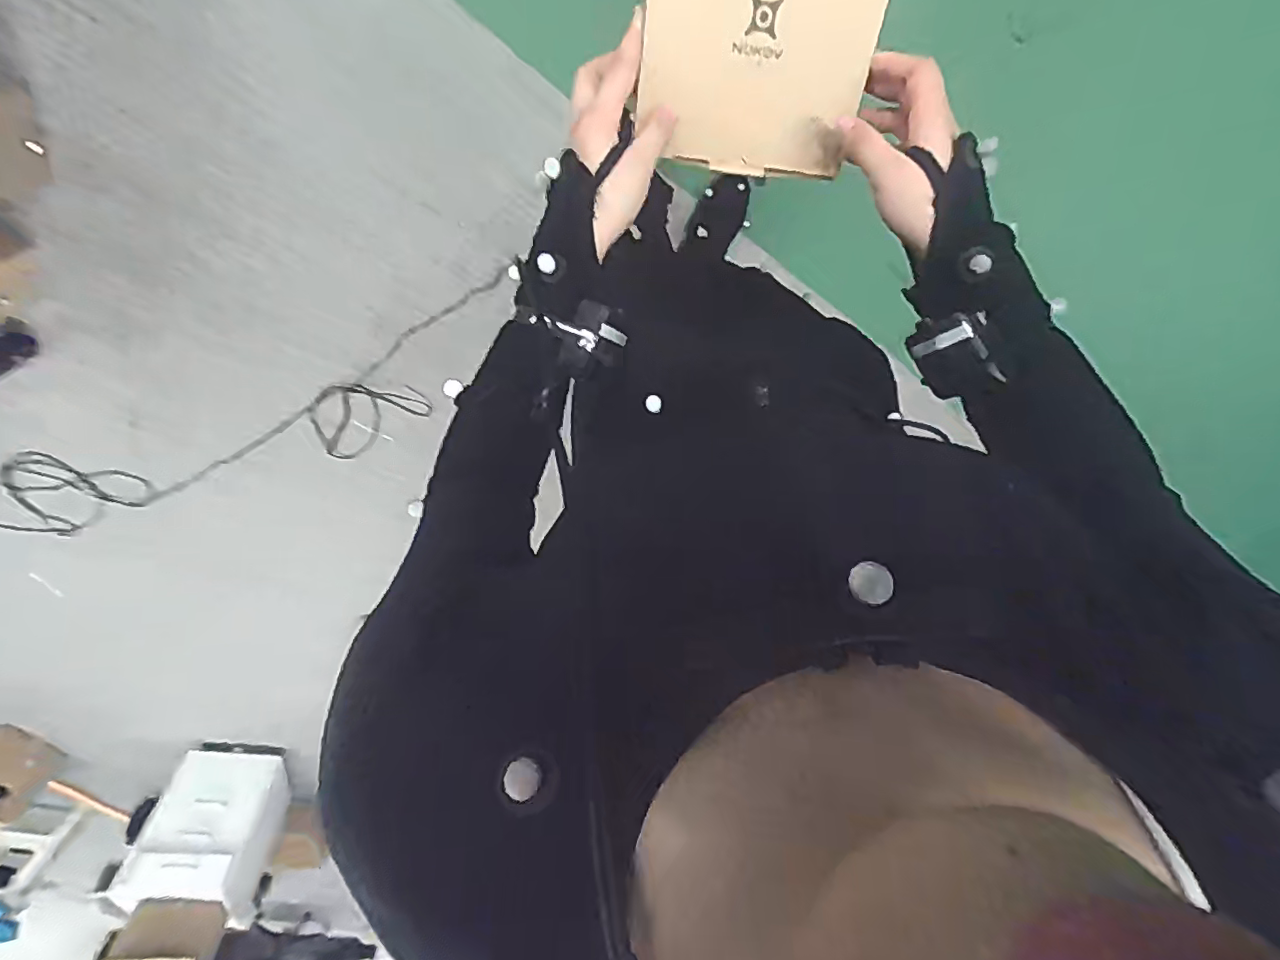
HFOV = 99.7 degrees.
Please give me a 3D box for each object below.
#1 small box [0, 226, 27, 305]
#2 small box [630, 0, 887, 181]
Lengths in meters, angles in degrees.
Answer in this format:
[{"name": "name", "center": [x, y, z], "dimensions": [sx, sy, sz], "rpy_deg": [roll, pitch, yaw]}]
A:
[{"name": "small box", "center": [-1.430, -0.455, 1.107], "dimensions": [0.179, 0.176, 0.168], "rpy_deg": [31, 122, -26]}, {"name": "small box", "center": [0.083, -0.358, 0.437], "dimensions": [0.168, 0.176, 0.179], "rpy_deg": [4, 125, -4]}]
